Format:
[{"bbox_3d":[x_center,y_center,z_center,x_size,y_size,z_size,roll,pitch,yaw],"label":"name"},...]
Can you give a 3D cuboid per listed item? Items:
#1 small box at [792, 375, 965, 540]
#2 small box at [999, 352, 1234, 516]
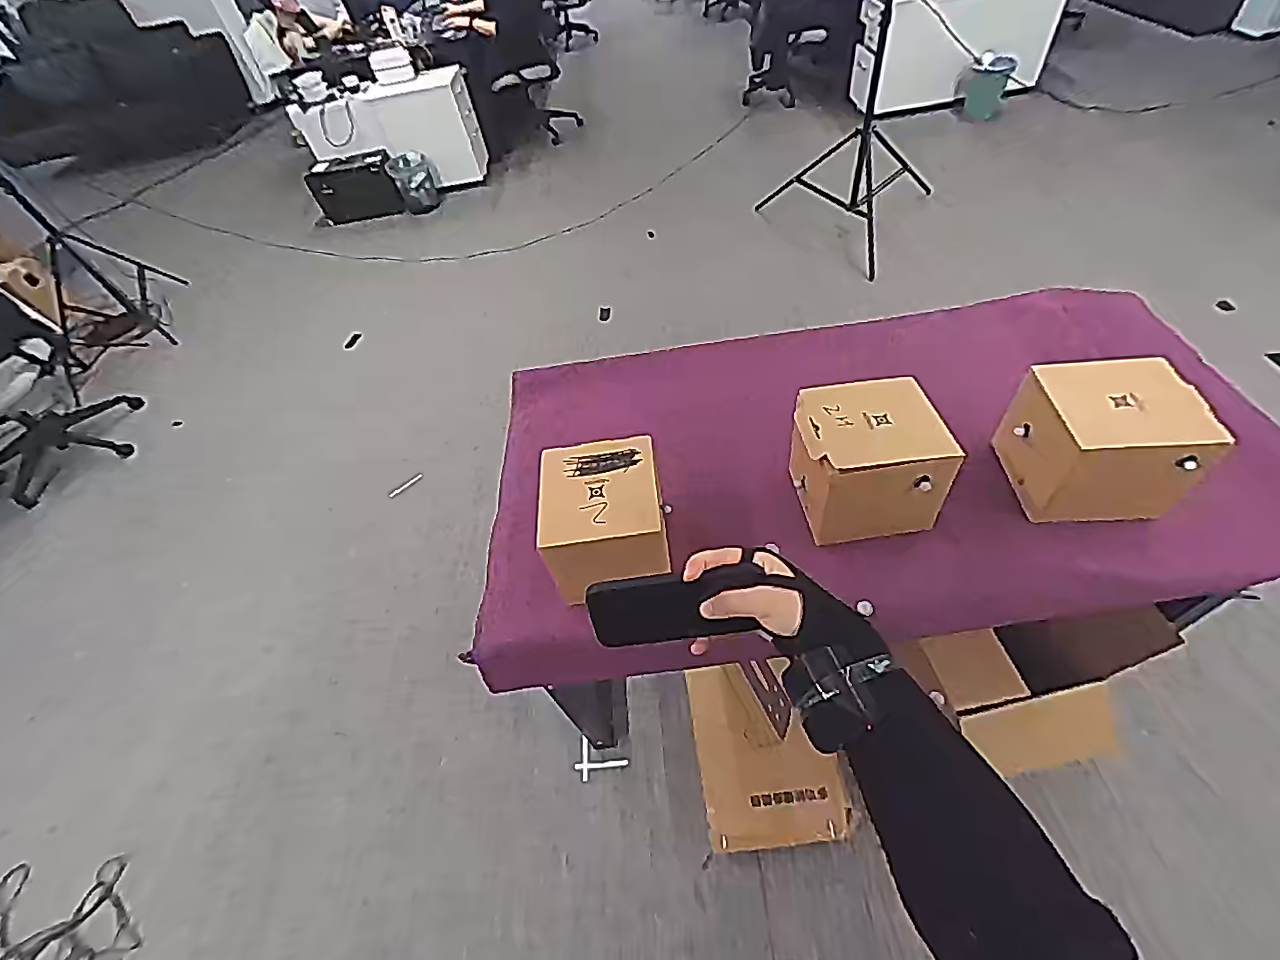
[{"bbox_3d":[0.338,-0.030,0.809,0.179,0.176,0.168,-9,48,3],"label":"small box"},{"bbox_3d":[0.654,-0.060,0.779,0.179,0.176,0.168,-3,51,7],"label":"small box"}]
